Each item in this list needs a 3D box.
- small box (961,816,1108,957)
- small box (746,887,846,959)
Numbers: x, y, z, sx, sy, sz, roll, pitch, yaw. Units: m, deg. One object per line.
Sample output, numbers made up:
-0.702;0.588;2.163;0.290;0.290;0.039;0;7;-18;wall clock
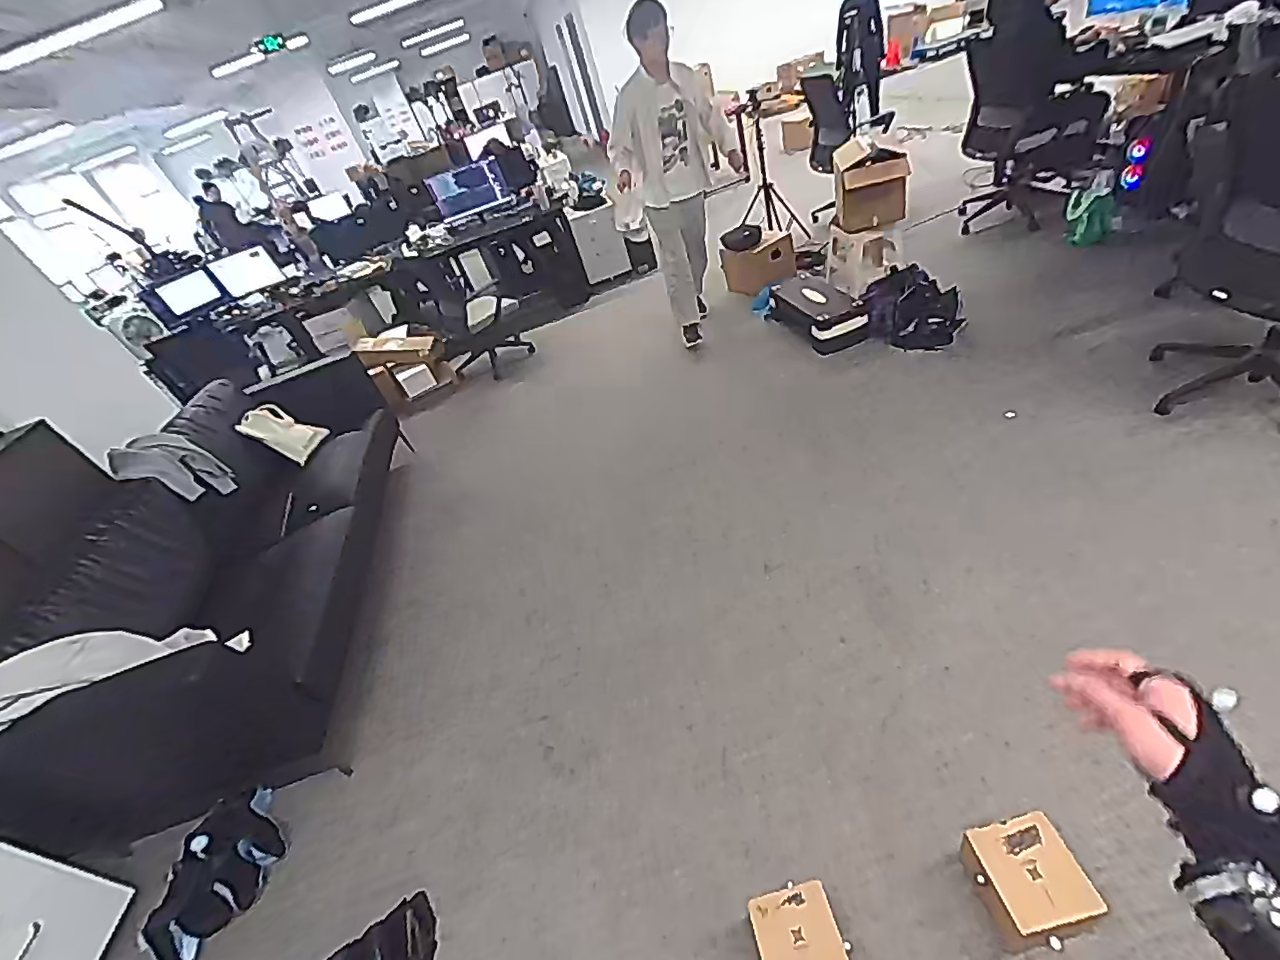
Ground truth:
0.786;0.829;1.103;0.168;0.176;0.179;-19;38;3;small box
0.337;0.987;1.119;0.168;0.176;0.179;-19;37;3;small box
